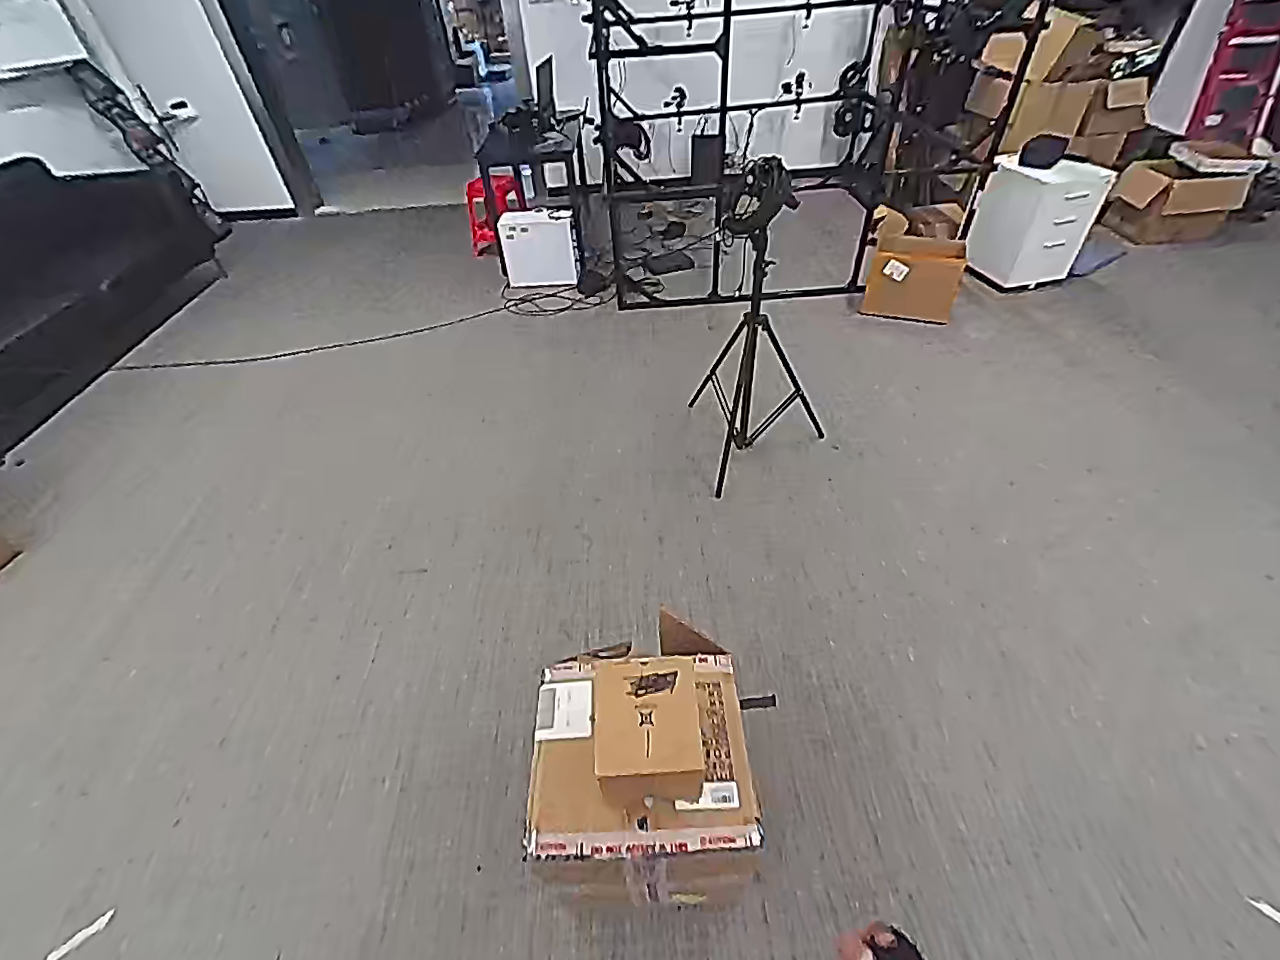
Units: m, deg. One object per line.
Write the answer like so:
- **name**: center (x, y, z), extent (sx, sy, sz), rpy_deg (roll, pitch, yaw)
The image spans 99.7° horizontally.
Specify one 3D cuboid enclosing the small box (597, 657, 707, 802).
- **small box**: center (0.018, 0.421, 0.913), extent (0.168, 0.176, 0.179), rpy_deg (-4, 47, 0)
